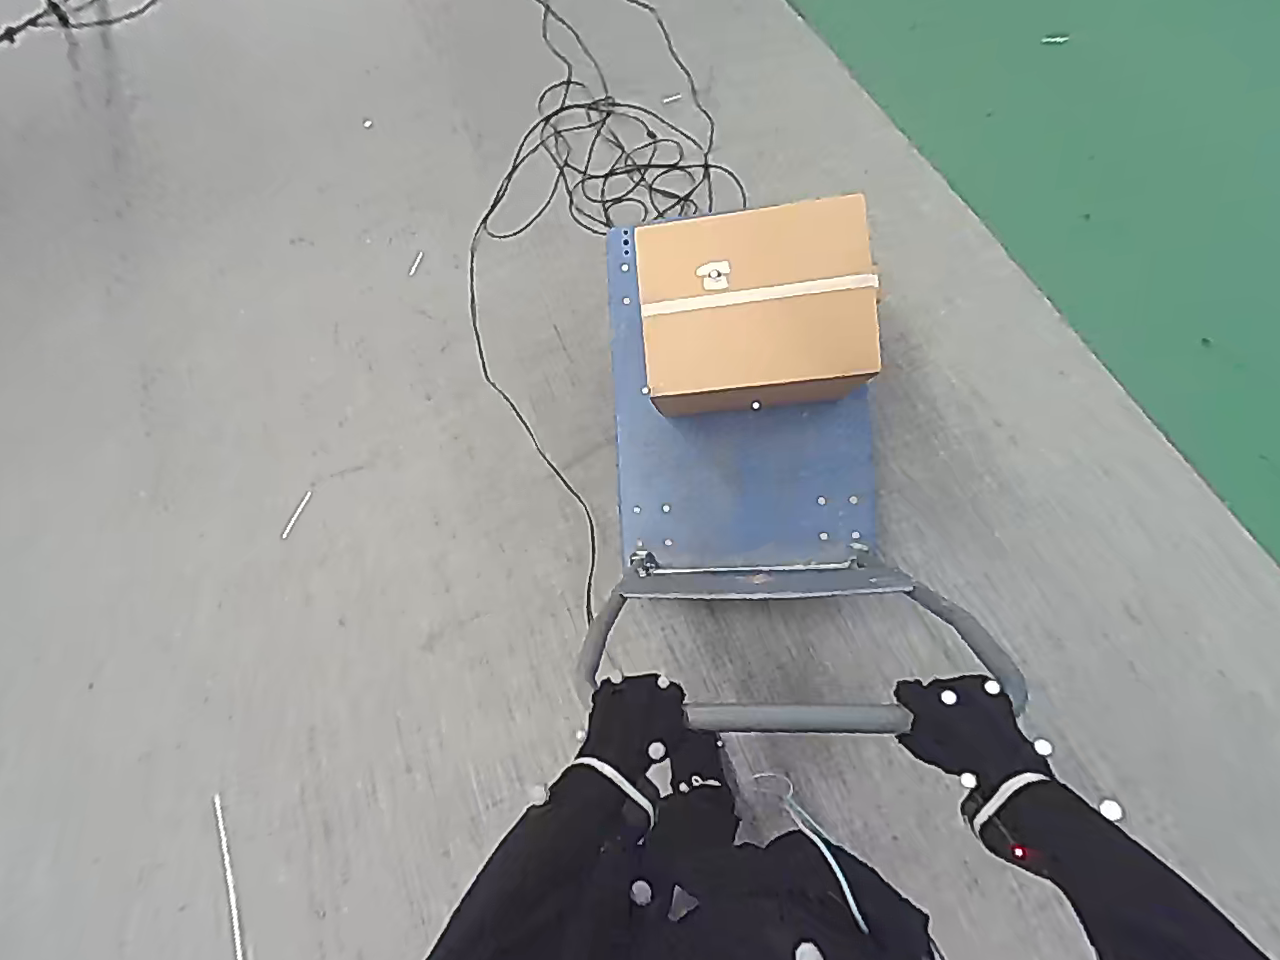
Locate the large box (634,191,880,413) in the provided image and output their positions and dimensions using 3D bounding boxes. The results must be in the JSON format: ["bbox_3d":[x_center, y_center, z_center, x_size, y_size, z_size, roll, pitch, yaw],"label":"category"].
[{"bbox_3d":[0.223,-0.323,1.094,0.408,0.320,0.320,-6,89,9],"label":"large box"}]
